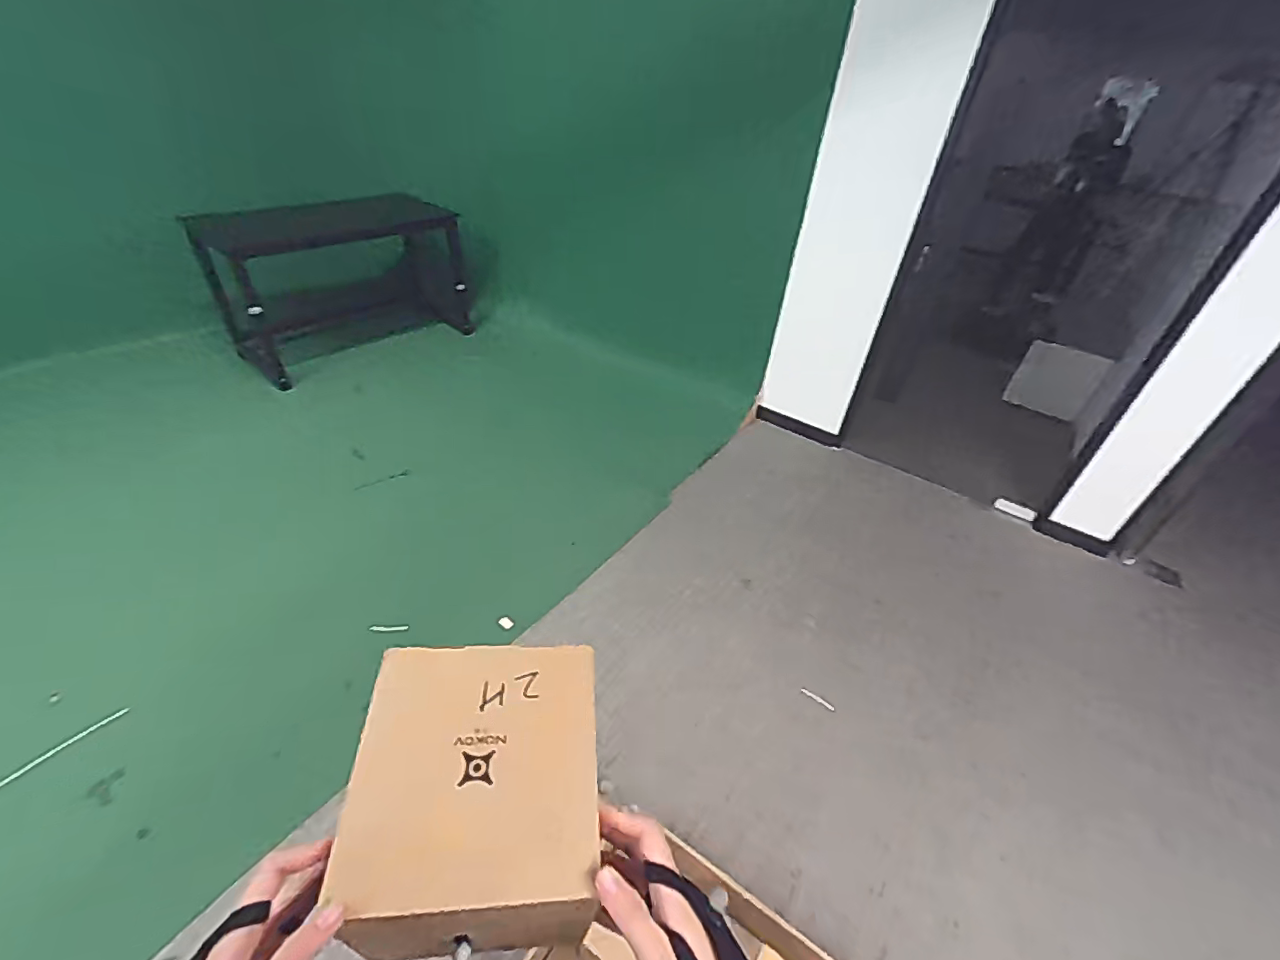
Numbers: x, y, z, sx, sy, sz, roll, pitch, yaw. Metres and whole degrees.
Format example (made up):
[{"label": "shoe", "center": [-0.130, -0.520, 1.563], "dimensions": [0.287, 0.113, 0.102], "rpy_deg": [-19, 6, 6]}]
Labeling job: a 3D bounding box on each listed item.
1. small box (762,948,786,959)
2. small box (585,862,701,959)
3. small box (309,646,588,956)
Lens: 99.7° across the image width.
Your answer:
[{"label": "small box", "center": [0.230, 0.929, 0.878], "dimensions": [0.168, 0.176, 0.179], "rpy_deg": [25, 42, 24]}, {"label": "small box", "center": [-0.001, 0.938, 1.103], "dimensions": [0.179, 0.176, 0.168], "rpy_deg": [26, 43, 20]}, {"label": "small box", "center": [-0.129, 0.256, 0.436], "dimensions": [0.168, 0.176, 0.179], "rpy_deg": [2, 41, -10]}]
